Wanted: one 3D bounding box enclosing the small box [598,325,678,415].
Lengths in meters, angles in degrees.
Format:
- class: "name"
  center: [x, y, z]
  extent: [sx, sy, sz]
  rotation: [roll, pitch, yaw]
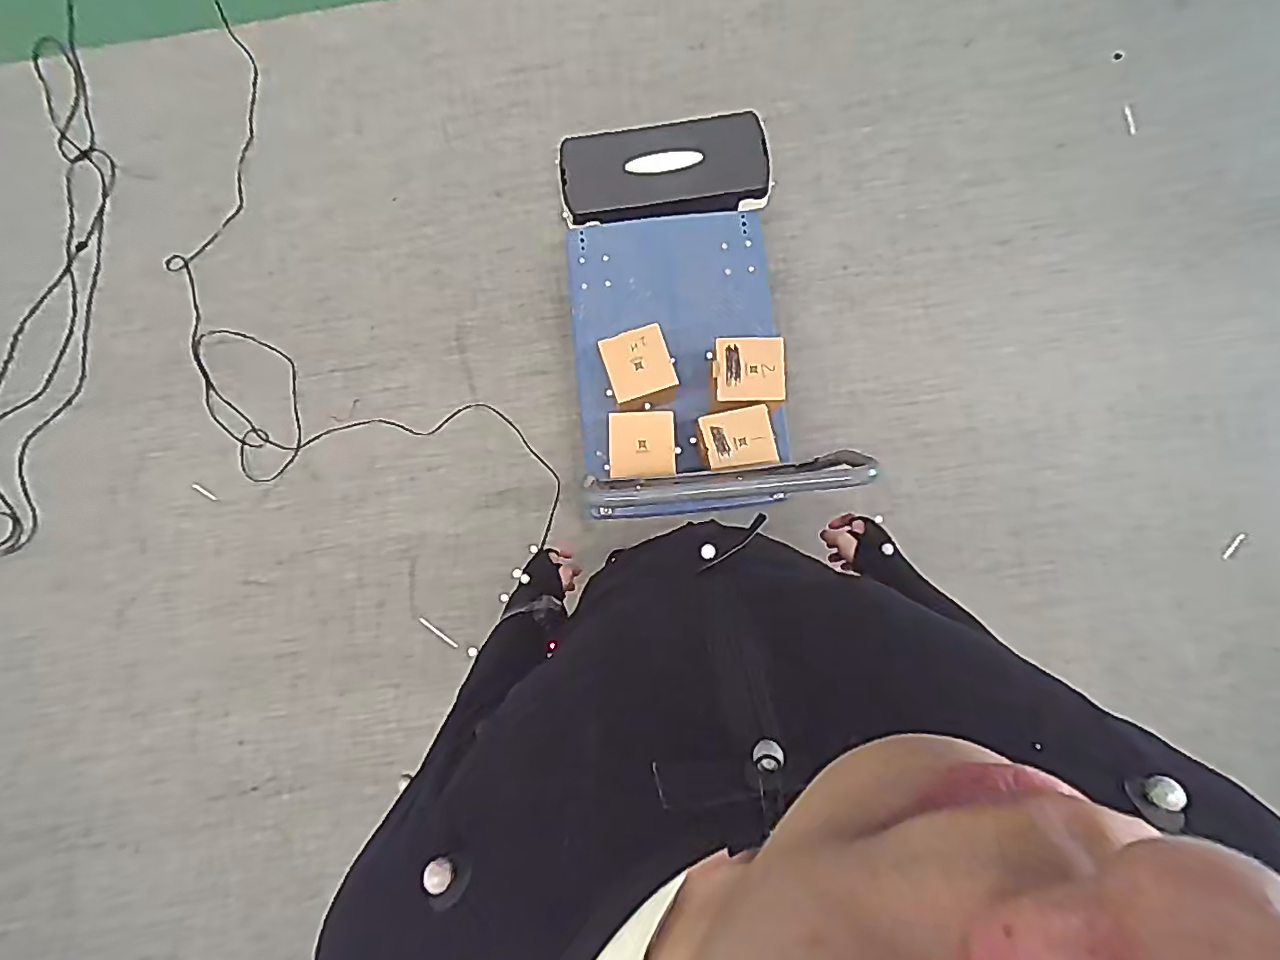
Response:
- class: "small box"
  center: [-0.003, -0.284, 1.448]
  extent: [0.168, 0.176, 0.179]
  rotation: [-18, 83, -2]
